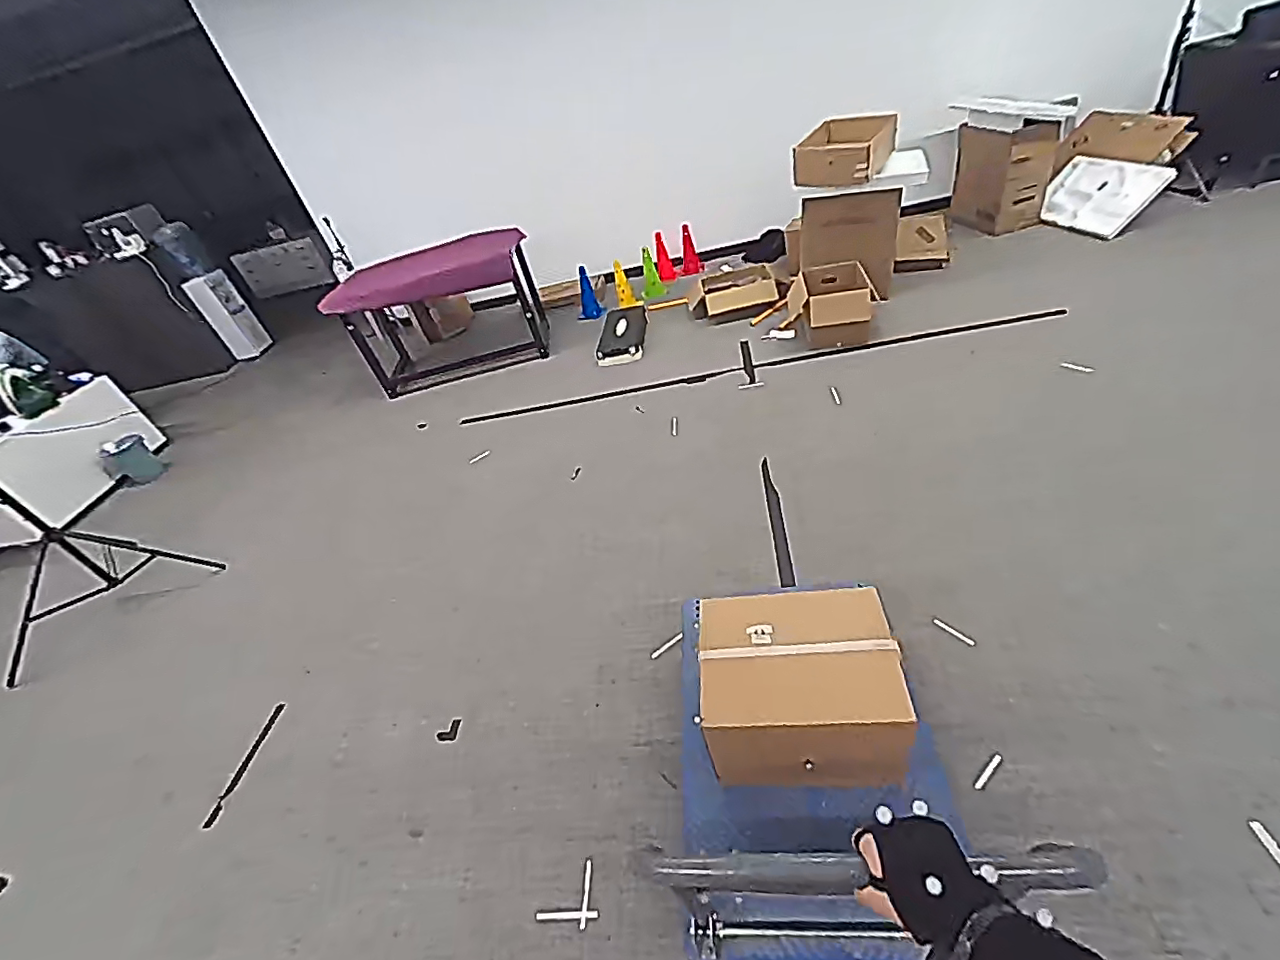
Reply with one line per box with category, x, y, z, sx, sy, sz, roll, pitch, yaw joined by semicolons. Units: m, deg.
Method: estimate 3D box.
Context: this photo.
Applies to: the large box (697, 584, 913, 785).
large box;0.356;0.471;1.232;0.408;0.320;0.320;-8;38;13
